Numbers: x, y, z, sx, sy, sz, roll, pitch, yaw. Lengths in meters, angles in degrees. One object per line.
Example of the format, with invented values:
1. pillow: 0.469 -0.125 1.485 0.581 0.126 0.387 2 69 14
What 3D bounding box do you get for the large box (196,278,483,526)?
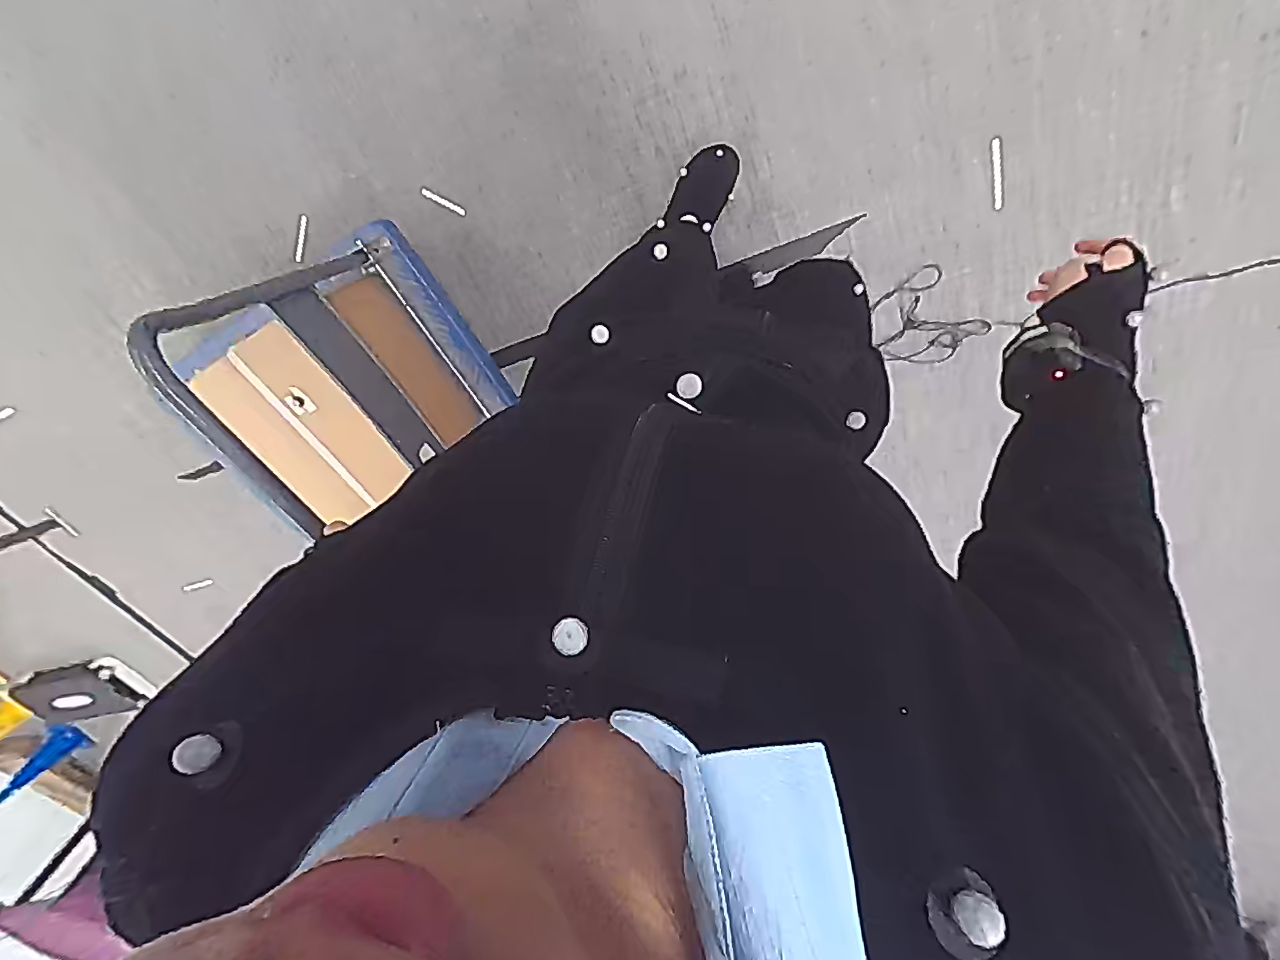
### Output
1. large box: -0.637 -0.175 1.225 0.320 0.320 0.408 -23 117 19
